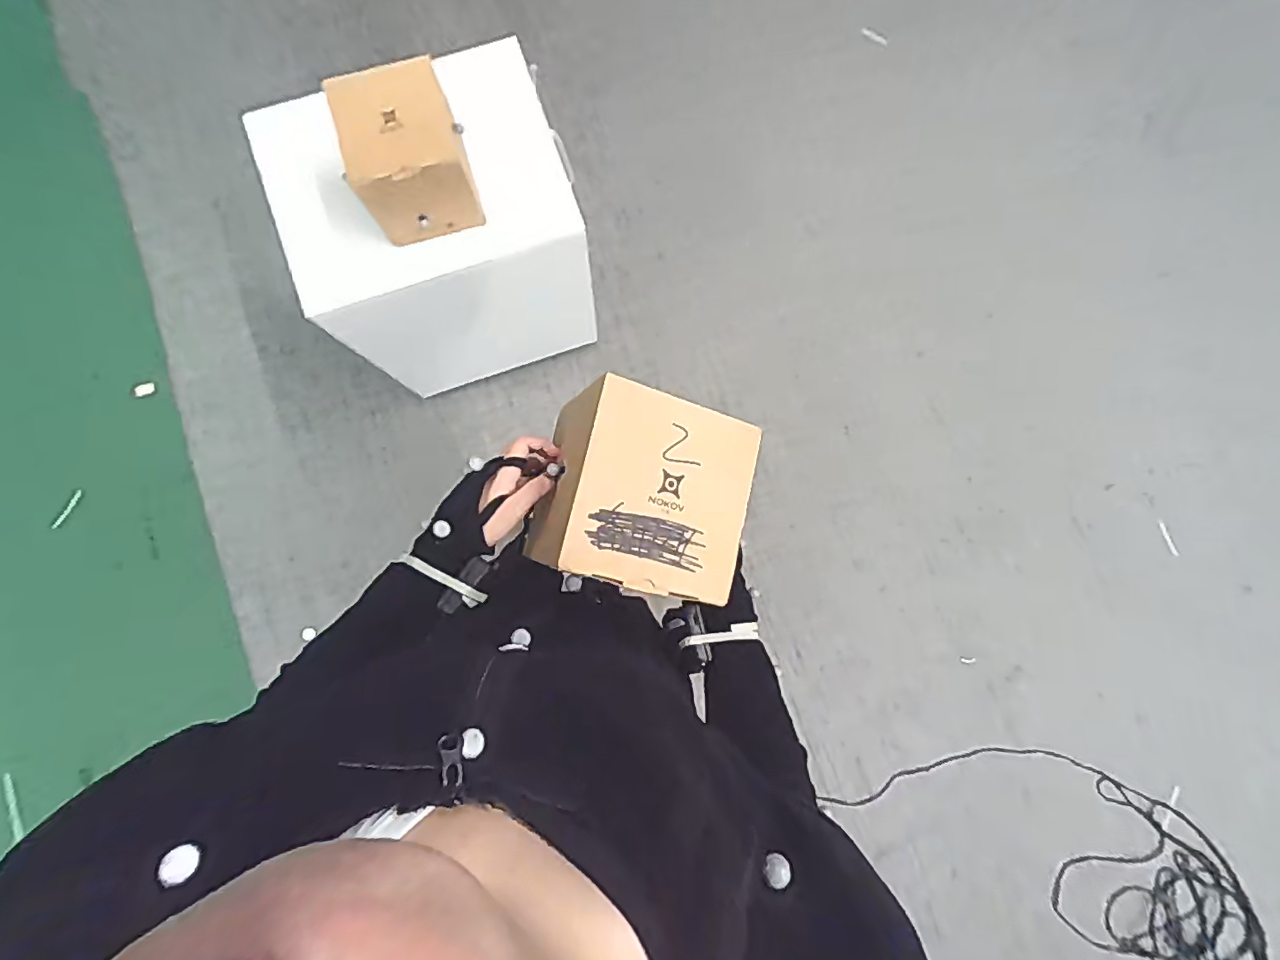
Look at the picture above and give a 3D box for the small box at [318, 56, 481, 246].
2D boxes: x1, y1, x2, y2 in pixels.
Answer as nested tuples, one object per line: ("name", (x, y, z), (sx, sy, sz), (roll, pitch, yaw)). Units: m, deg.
("small box", (-0.372, -0.513, 0.863), (0.168, 0.176, 0.179), (-17, 84, -4))
